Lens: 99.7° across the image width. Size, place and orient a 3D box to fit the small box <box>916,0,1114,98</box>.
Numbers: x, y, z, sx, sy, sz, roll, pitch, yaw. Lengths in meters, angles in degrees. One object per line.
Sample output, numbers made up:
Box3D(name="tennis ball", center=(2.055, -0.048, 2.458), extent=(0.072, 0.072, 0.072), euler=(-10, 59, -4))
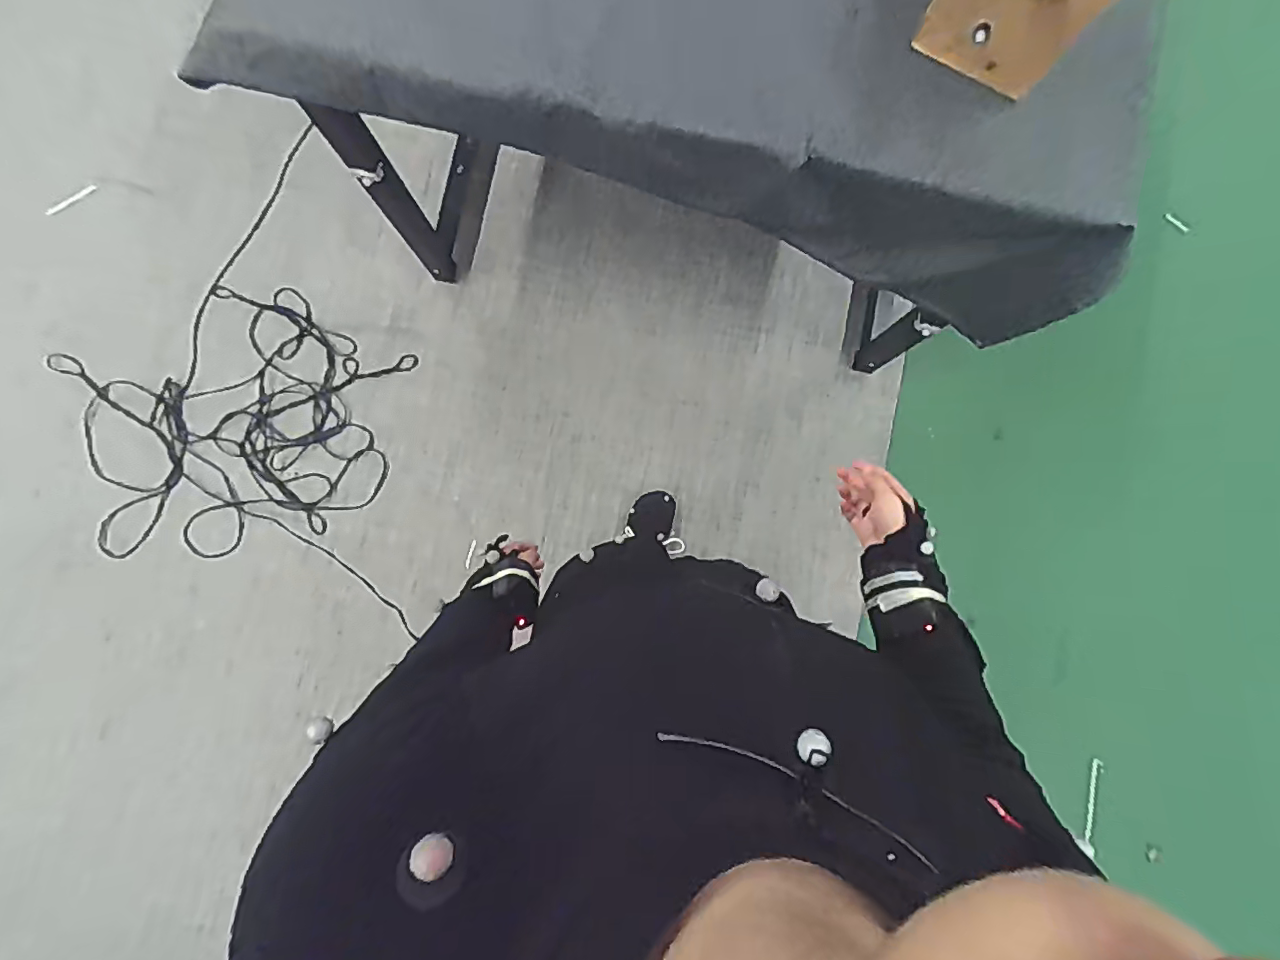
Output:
Box3D(name="small box", center=(0.465, -0.614, 0.637), extent=(0.168, 0.176, 0.179), euler=(27, 85, 1))
